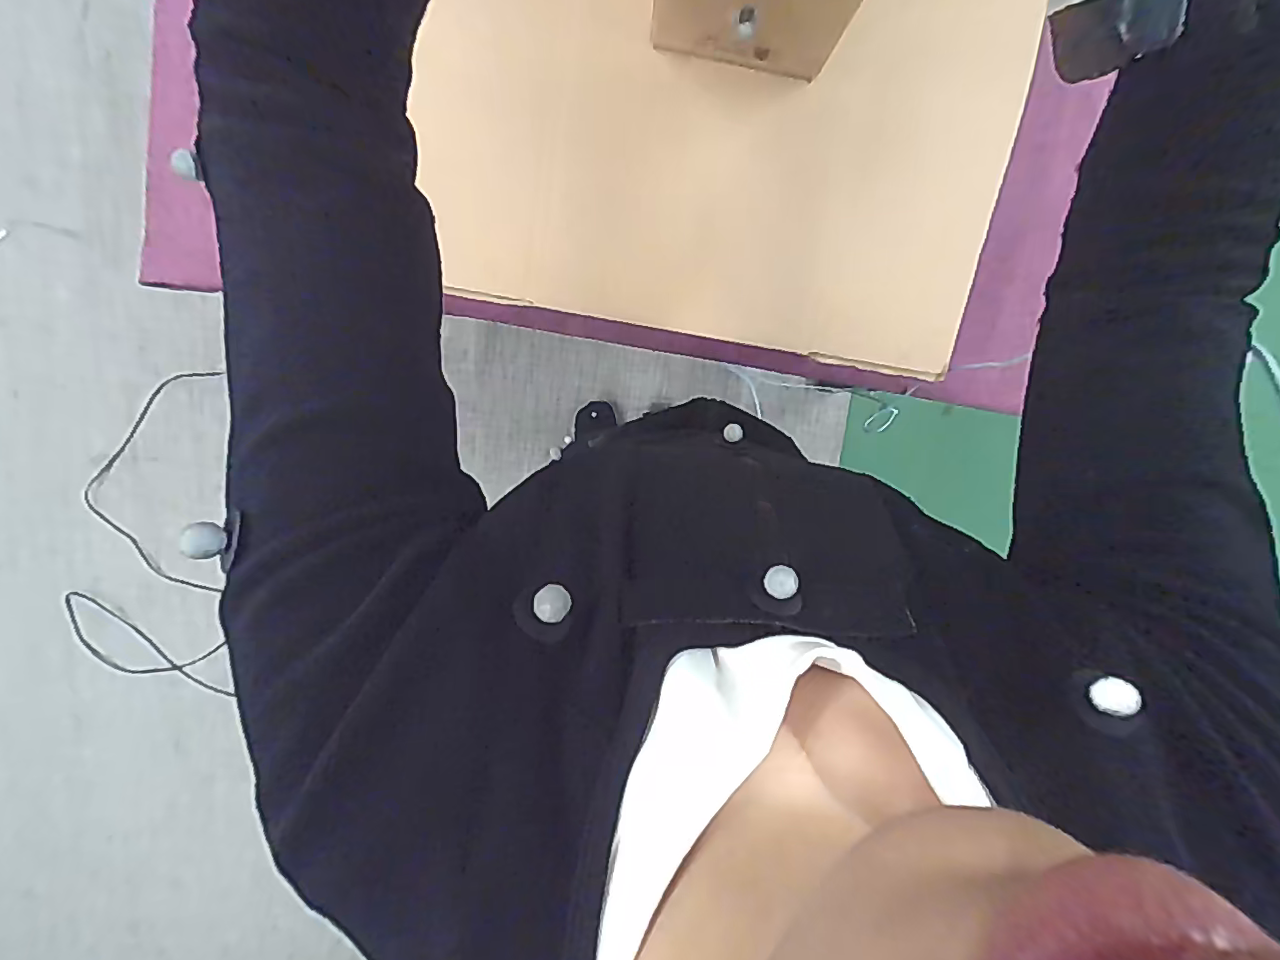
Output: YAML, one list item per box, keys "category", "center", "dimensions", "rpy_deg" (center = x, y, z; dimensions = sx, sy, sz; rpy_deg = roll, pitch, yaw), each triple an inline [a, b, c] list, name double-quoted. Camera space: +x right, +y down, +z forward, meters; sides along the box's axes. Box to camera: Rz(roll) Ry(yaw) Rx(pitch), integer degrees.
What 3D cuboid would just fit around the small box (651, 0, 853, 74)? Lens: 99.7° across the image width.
- category: "small box"
  center: [0.105, -0.479, 0.428]
  dimensions: [0.168, 0.176, 0.179]
  rpy_deg: [9, 96, -4]
